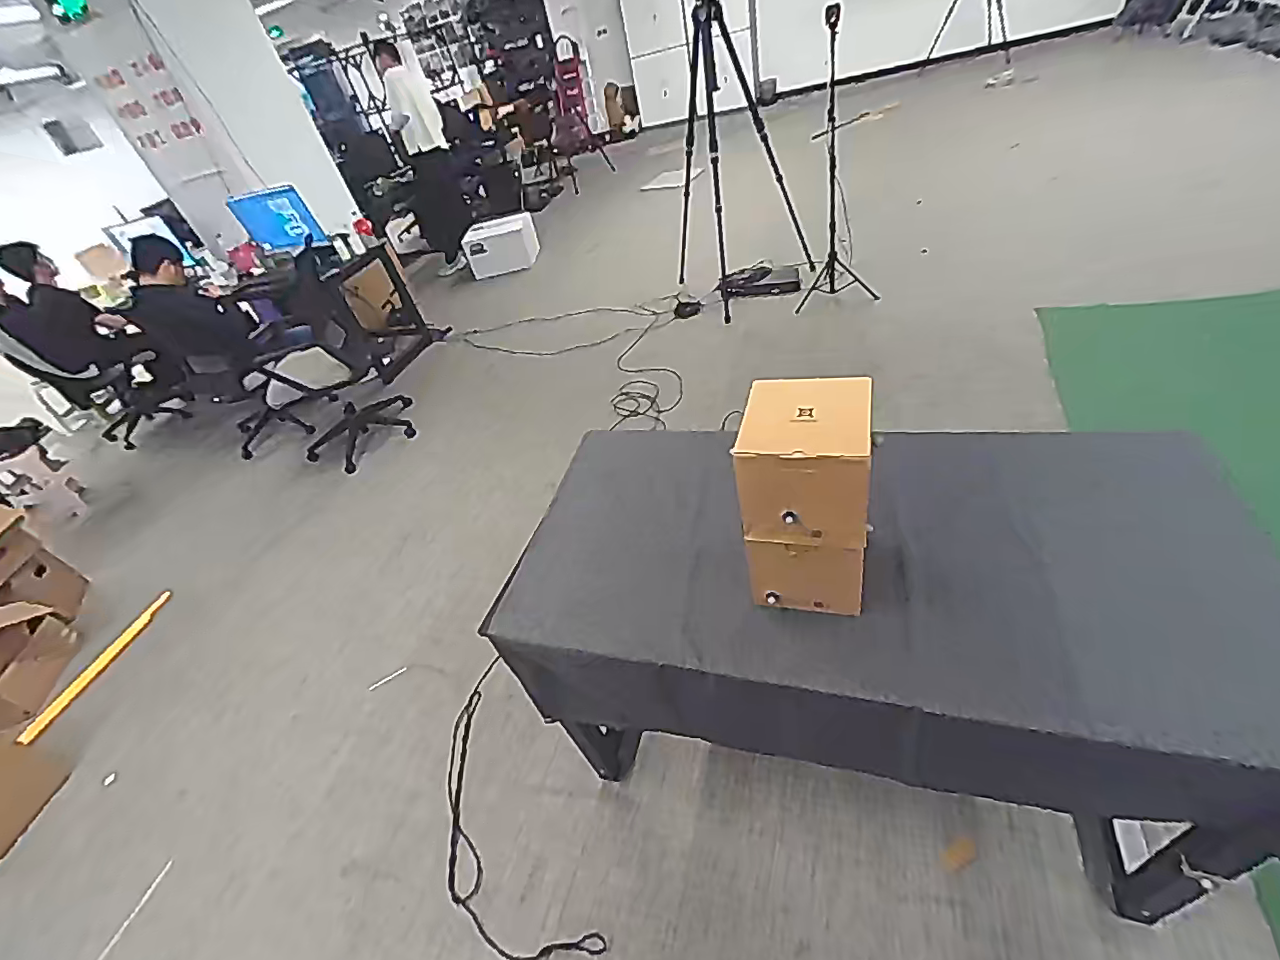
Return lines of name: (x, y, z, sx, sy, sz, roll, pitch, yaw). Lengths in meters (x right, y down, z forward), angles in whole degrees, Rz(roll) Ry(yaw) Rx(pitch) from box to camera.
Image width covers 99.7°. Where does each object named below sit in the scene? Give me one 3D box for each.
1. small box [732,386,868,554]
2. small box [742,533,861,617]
small box: (0.236, -0.018, 0.782, 0.168, 0.176, 0.179, 2, 43, 22)
small box: (0.272, 0.101, 0.886, 0.168, 0.176, 0.179, 2, 42, 21)
